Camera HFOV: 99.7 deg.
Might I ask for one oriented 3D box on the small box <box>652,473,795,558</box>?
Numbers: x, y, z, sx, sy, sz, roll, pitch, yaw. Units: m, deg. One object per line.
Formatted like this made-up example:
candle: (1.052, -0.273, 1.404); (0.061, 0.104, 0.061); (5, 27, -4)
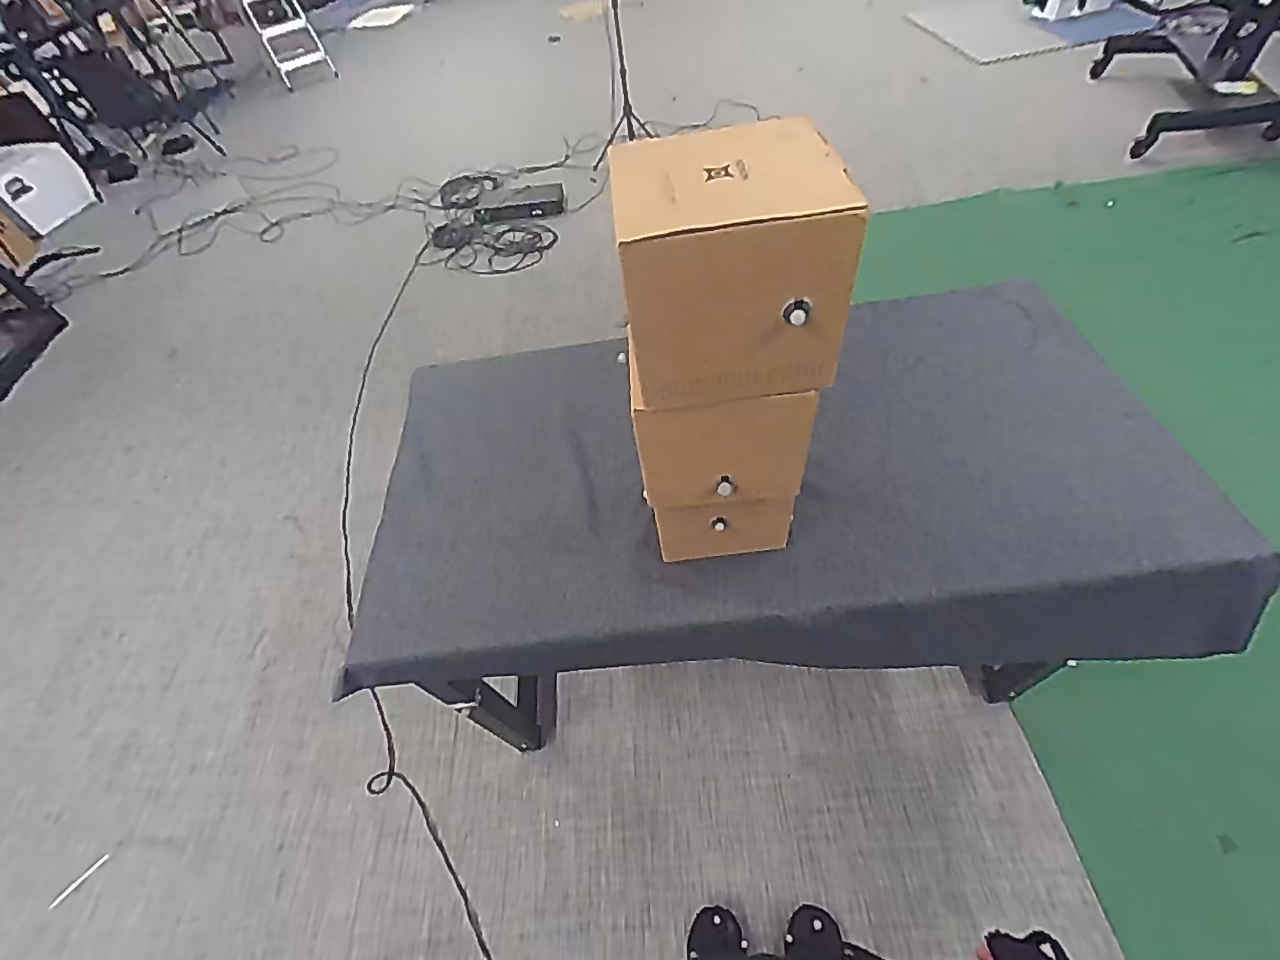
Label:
small box: (0.104, -0.008, 0.755); (0.179, 0.176, 0.168); (-8, 53, 4)

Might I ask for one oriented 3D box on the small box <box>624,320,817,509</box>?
small box: (0.083, -0.085, 0.615); (0.179, 0.176, 0.168); (-8, 54, 3)

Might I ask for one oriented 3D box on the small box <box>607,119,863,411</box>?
small box: (0.072, -0.184, 0.483); (0.179, 0.176, 0.168); (-9, 52, 4)
